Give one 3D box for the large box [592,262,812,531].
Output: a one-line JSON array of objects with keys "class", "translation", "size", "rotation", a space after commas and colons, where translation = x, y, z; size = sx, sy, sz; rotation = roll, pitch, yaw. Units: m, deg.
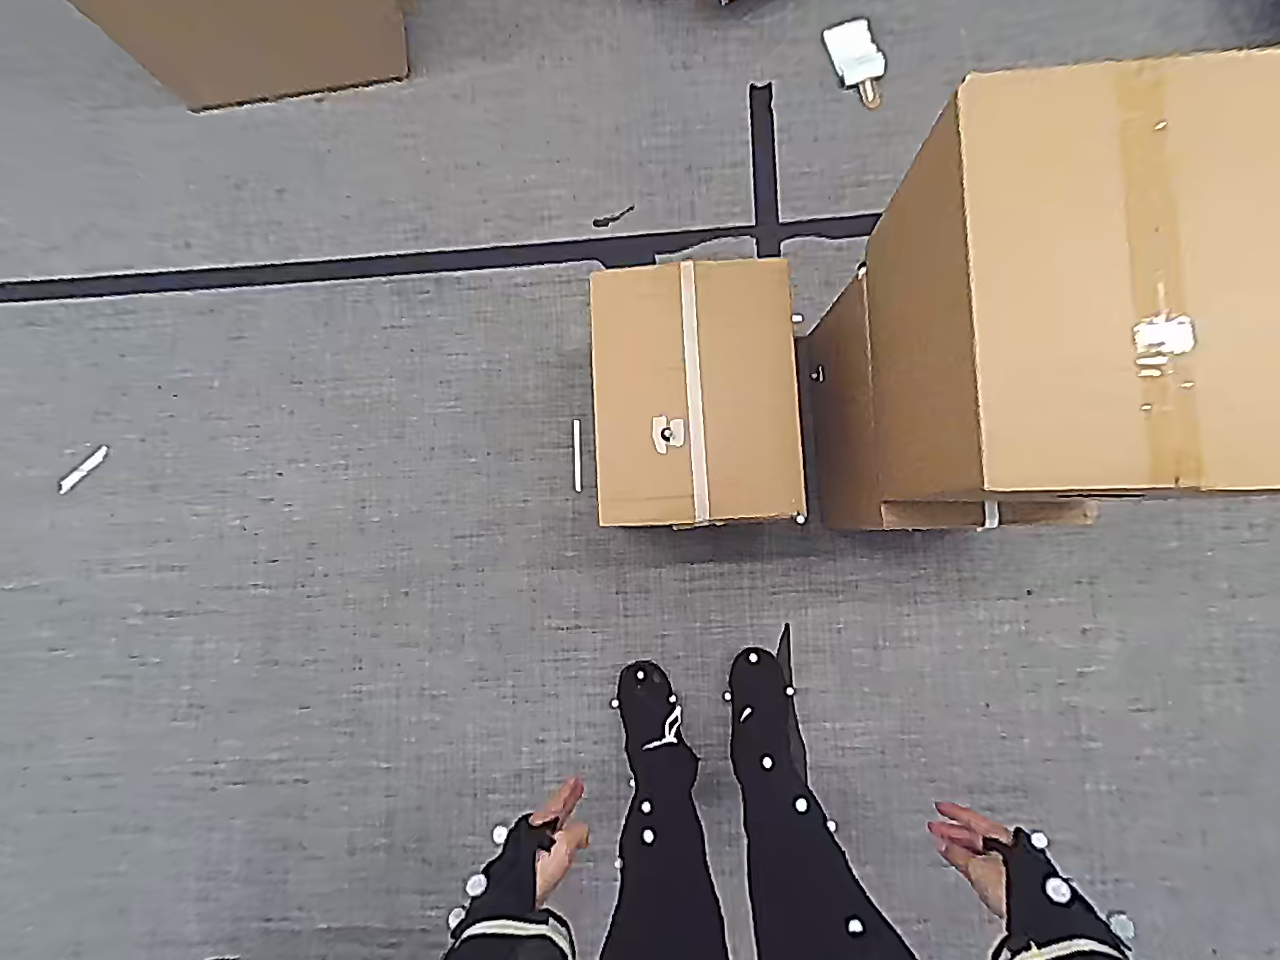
[{"class": "large box", "translation": [0.097, -0.122, 0.977], "size": [0.320, 0.320, 0.408], "rotation": [-4, 85, 3]}]
